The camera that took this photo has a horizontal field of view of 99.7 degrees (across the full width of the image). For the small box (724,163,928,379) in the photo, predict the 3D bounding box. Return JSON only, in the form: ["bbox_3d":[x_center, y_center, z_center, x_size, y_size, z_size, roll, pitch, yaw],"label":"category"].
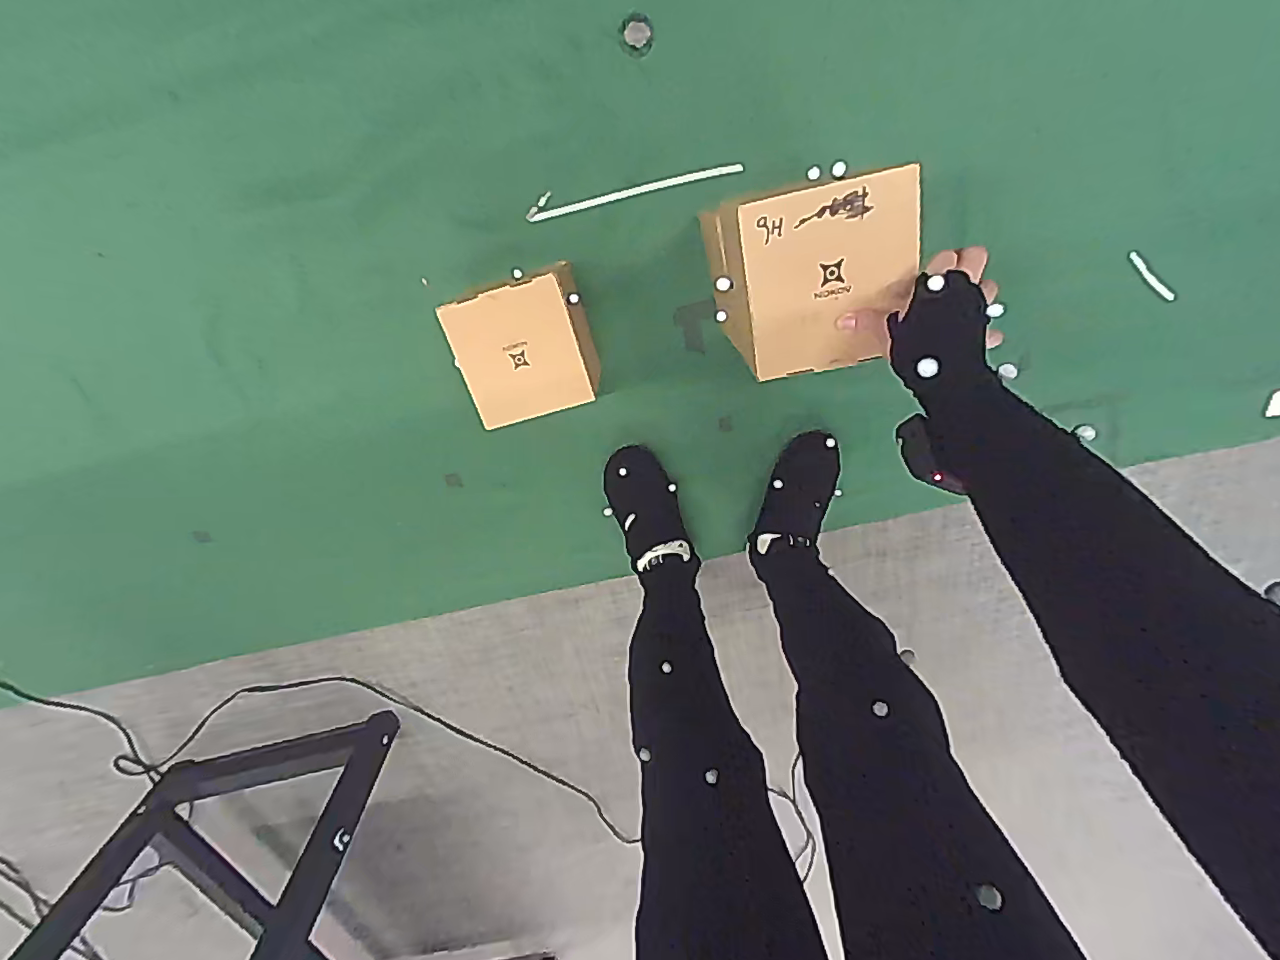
[{"bbox_3d":[0.192,-0.233,0.594,0.168,0.176,0.179,-10,118,6],"label":"small box"}]

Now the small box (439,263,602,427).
[{"bbox_3d":[-0.158,-0.203,0.790,0.168,0.176,0.179,-14,115,6],"label":"small box"}]
